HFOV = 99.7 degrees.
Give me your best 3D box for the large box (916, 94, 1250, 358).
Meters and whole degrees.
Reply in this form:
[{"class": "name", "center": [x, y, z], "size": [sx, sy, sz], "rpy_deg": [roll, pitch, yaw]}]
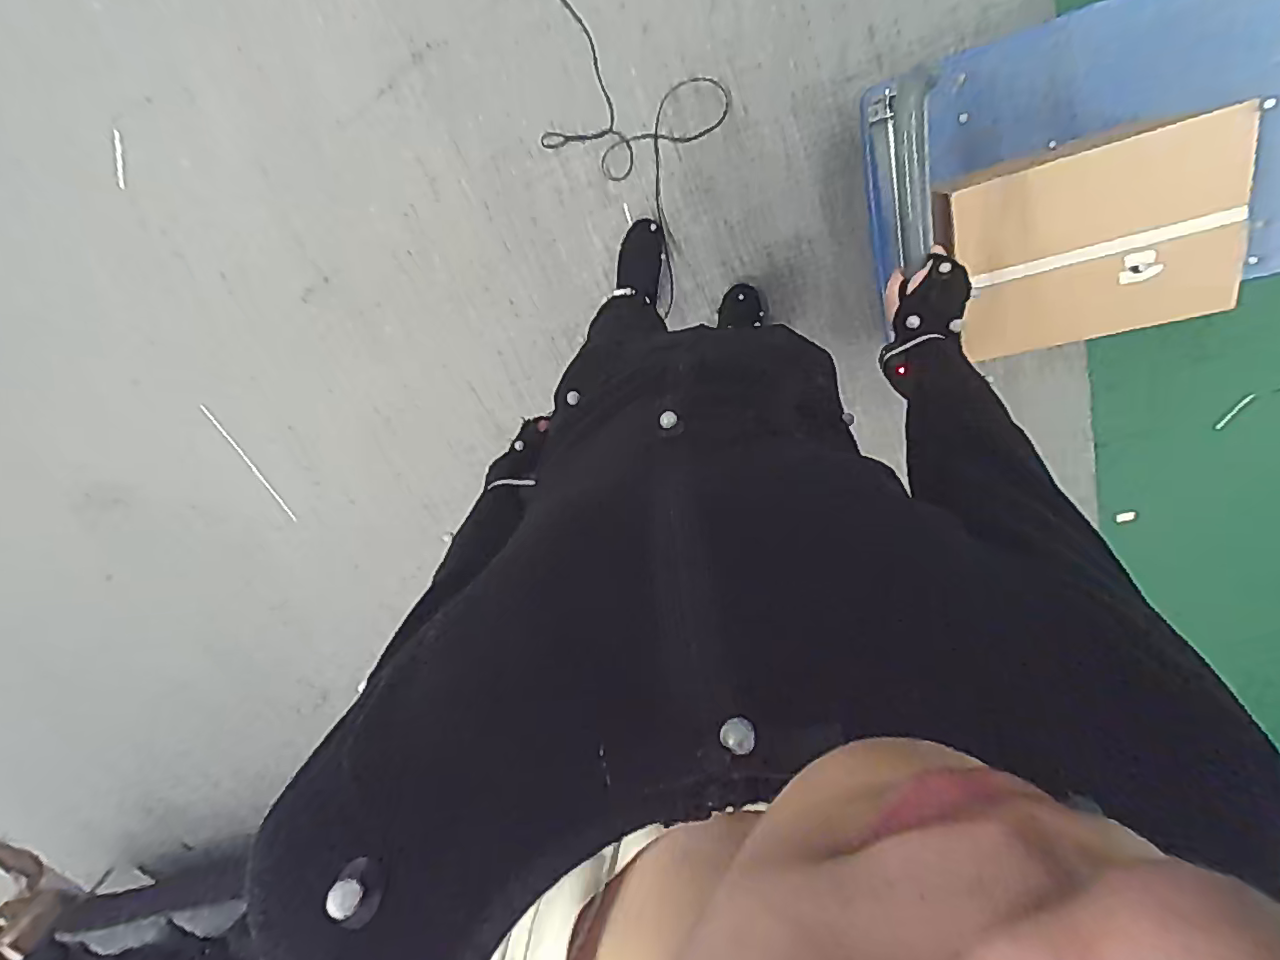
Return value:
[{"class": "large box", "center": [0.799, -0.472, 1.050], "size": [0.408, 0.320, 0.320], "rpy_deg": [-10, 116, 21]}]
